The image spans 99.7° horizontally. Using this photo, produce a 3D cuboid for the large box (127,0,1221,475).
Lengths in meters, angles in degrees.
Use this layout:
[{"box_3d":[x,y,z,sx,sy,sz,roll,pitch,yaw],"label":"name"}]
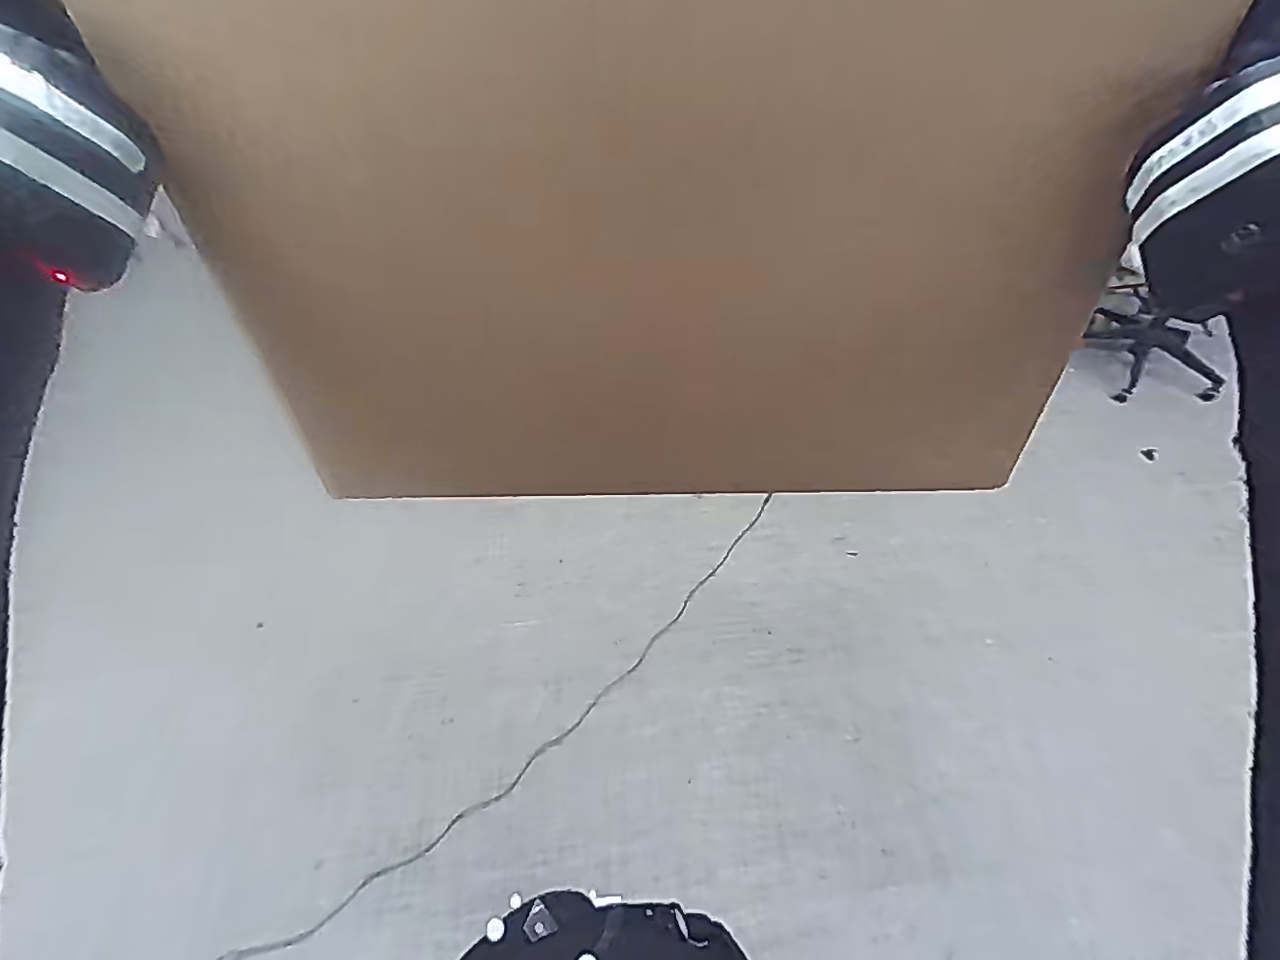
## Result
[{"box_3d":[0.012,-0.212,0.348,0.408,0.320,0.320,0,40,2],"label":"large box"}]
